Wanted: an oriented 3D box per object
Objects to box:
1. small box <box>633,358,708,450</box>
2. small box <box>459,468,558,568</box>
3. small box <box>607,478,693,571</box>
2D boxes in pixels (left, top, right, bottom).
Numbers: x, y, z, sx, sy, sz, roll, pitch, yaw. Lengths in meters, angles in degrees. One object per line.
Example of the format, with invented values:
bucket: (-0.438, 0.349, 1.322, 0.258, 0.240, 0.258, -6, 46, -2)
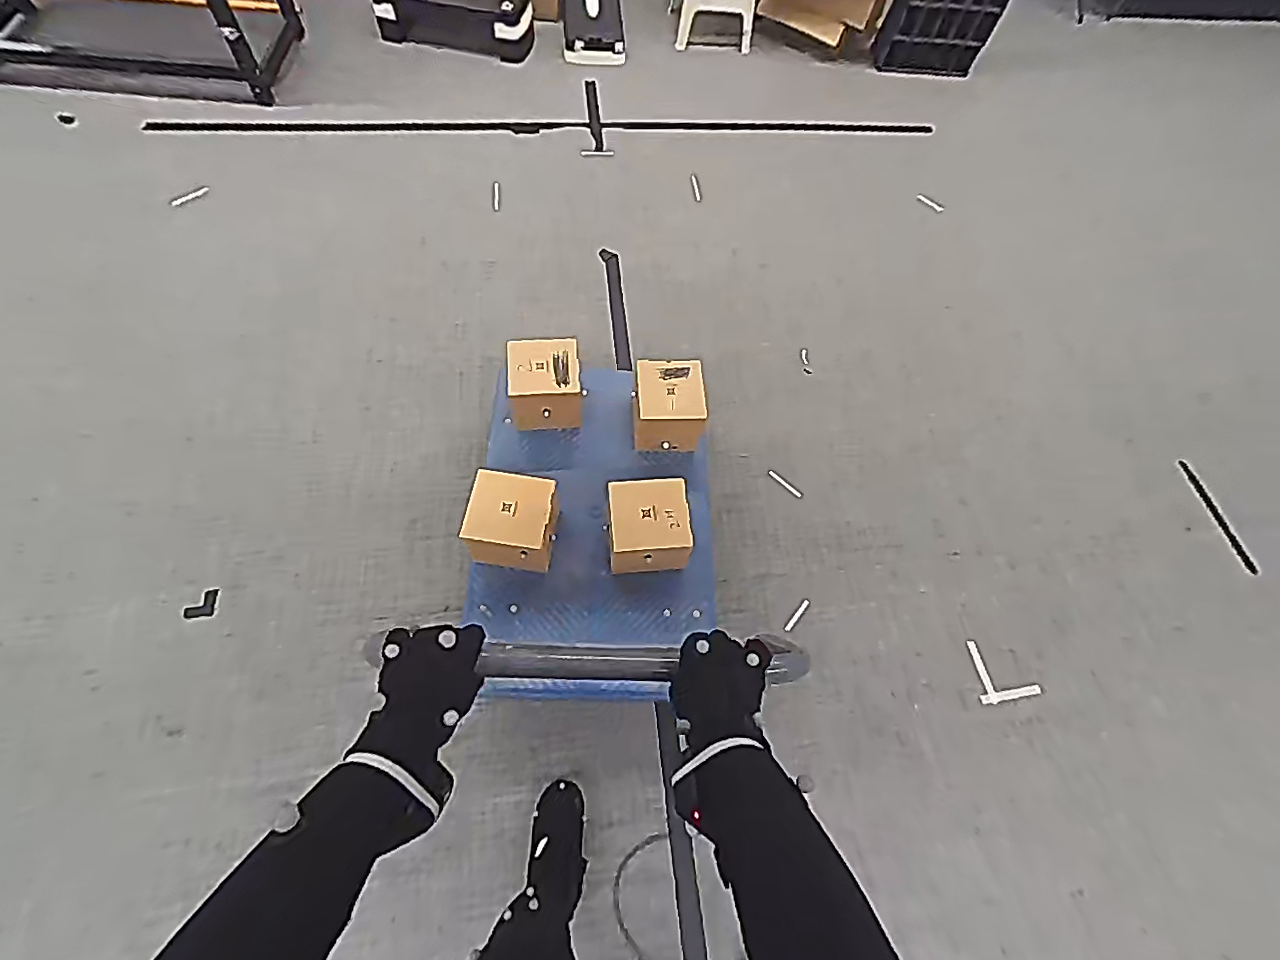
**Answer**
small box: (0.071, -0.193, 1.395, 0.168, 0.176, 0.179, -1, 66, -5)
small box: (-0.288, 0.092, 1.227, 0.179, 0.176, 0.168, 9, 64, -3)
small box: (0.015, 0.106, 1.248, 0.179, 0.176, 0.168, -3, 65, -6)
